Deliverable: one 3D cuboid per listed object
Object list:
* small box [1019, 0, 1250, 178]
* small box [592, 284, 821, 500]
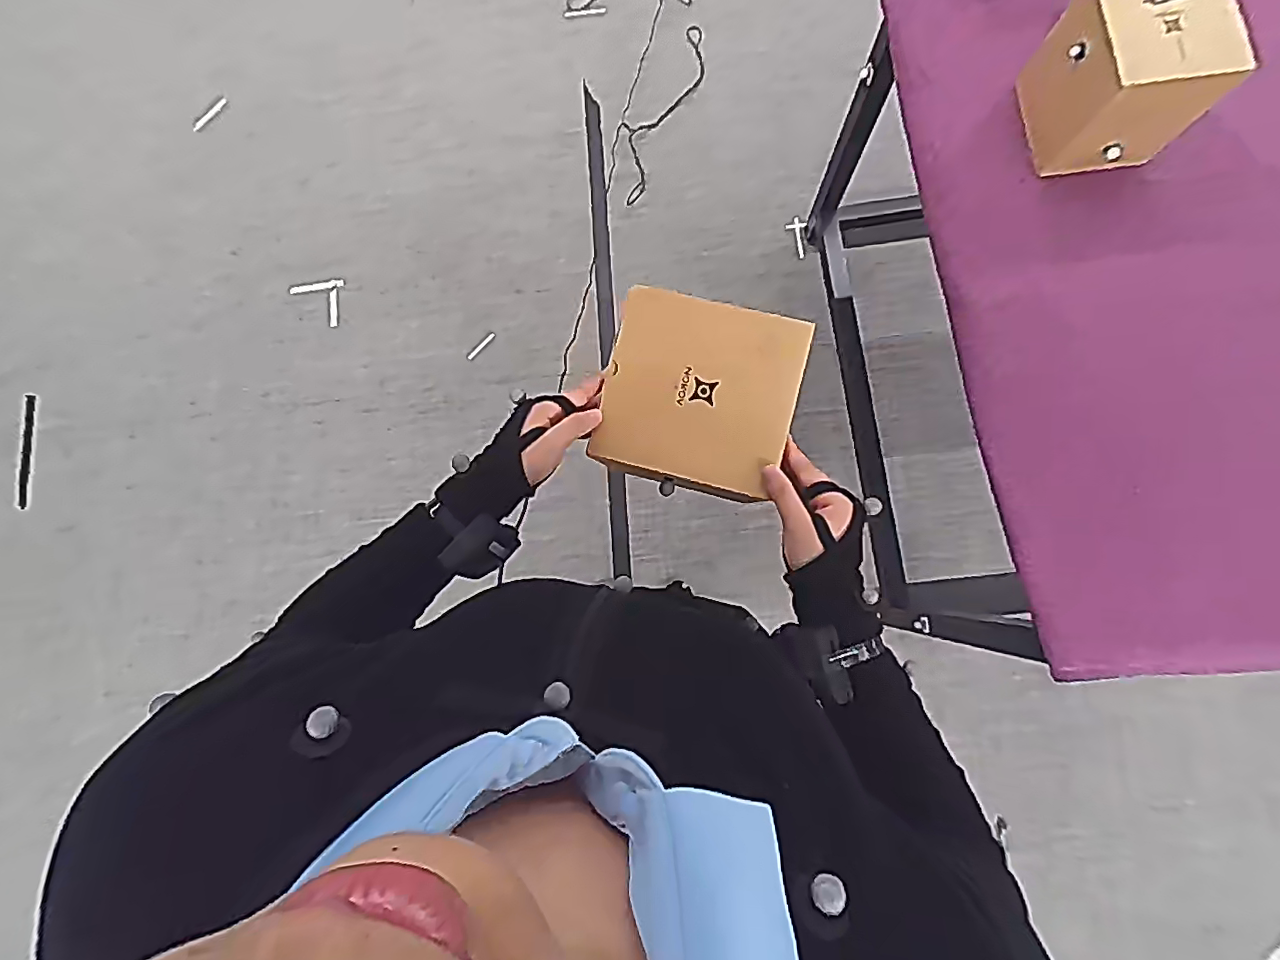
[{"bbox_3d":[0.692,-0.578,0.783,0.168,0.176,0.179,-6,81,3],"label":"small box"},{"bbox_3d":[0.066,-0.079,0.568,0.179,0.176,0.168,14,88,6],"label":"small box"}]
